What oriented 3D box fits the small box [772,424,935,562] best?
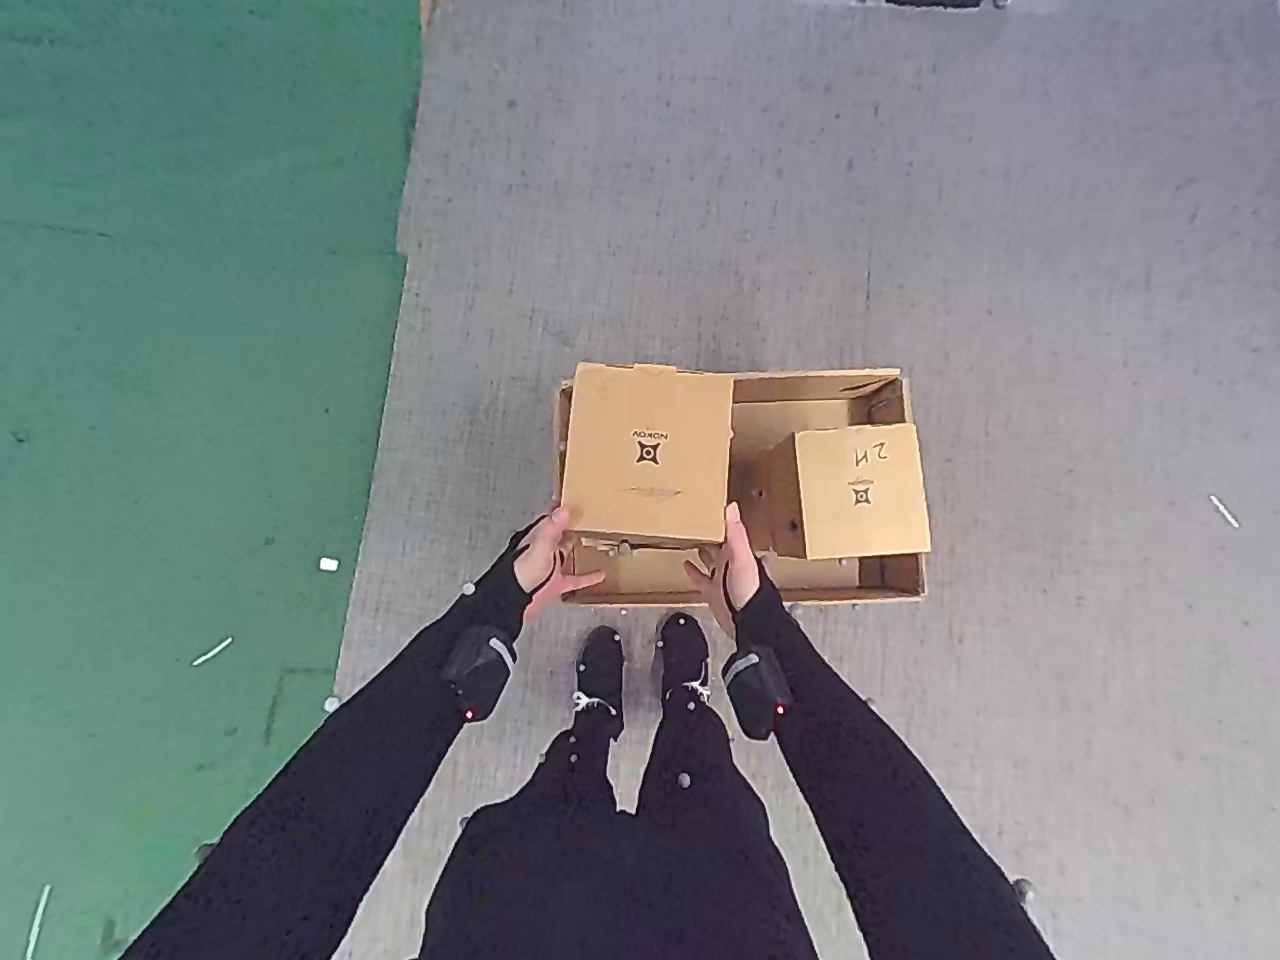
[{"bbox_3d":[0.296,0.024,0.784,0.168,0.176,0.179,-3,82,0],"label":"small box"}]

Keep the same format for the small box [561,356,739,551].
[{"bbox_3d":[0.010,-0.019,0.612,0.168,0.176,0.179,5,80,0],"label":"small box"}]
